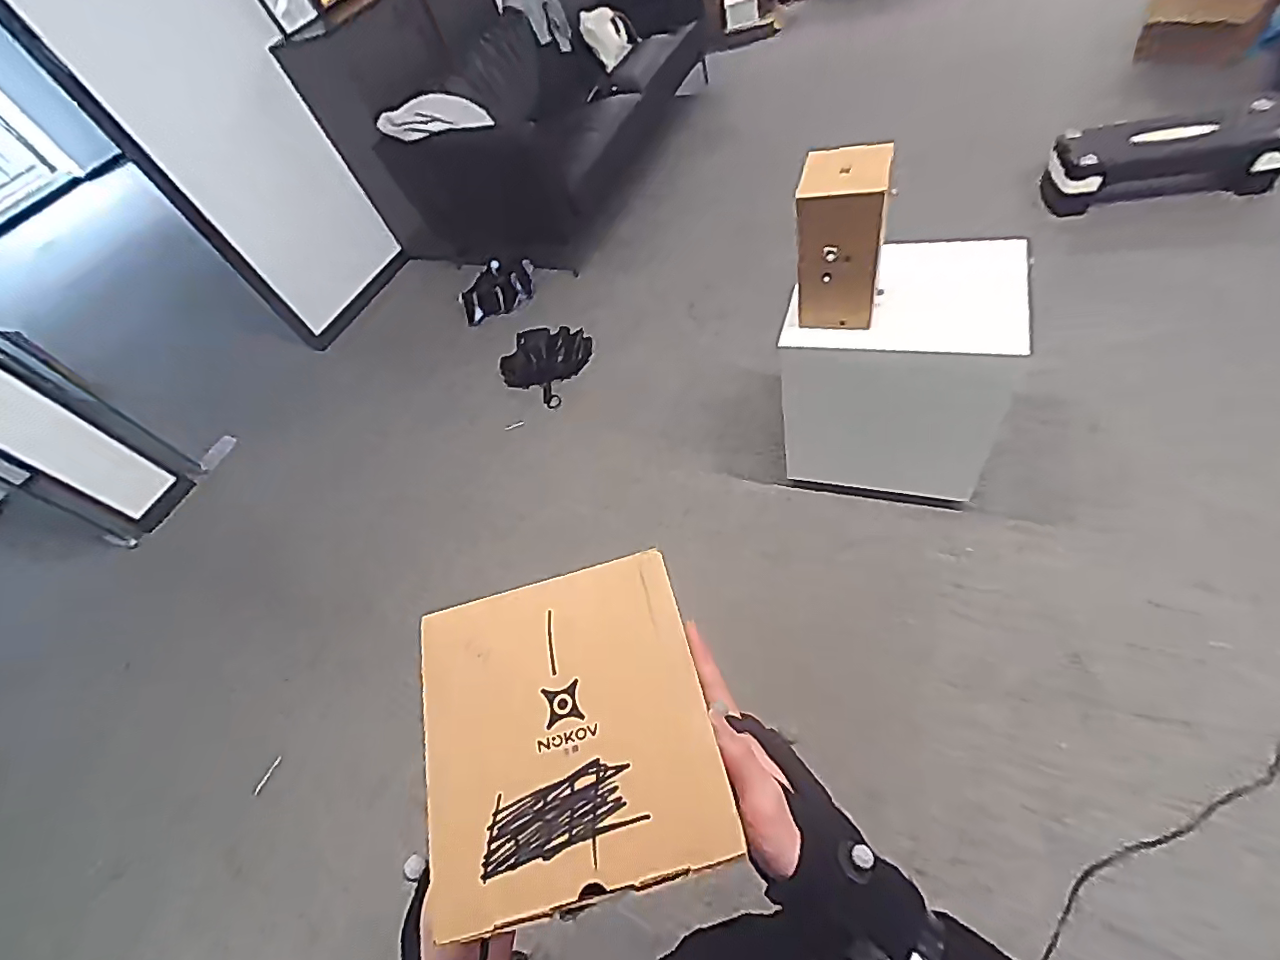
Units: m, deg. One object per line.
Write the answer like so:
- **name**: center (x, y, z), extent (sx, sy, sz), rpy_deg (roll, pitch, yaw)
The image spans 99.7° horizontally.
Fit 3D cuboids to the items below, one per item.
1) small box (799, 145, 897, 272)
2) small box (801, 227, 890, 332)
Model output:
- **small box**: center (0.429, -0.557, 1.122), extent (0.168, 0.176, 0.179), rpy_deg (7, 58, 23)
- **small box**: center (0.471, -0.469, 1.253), extent (0.168, 0.176, 0.179), rpy_deg (9, 57, 23)
